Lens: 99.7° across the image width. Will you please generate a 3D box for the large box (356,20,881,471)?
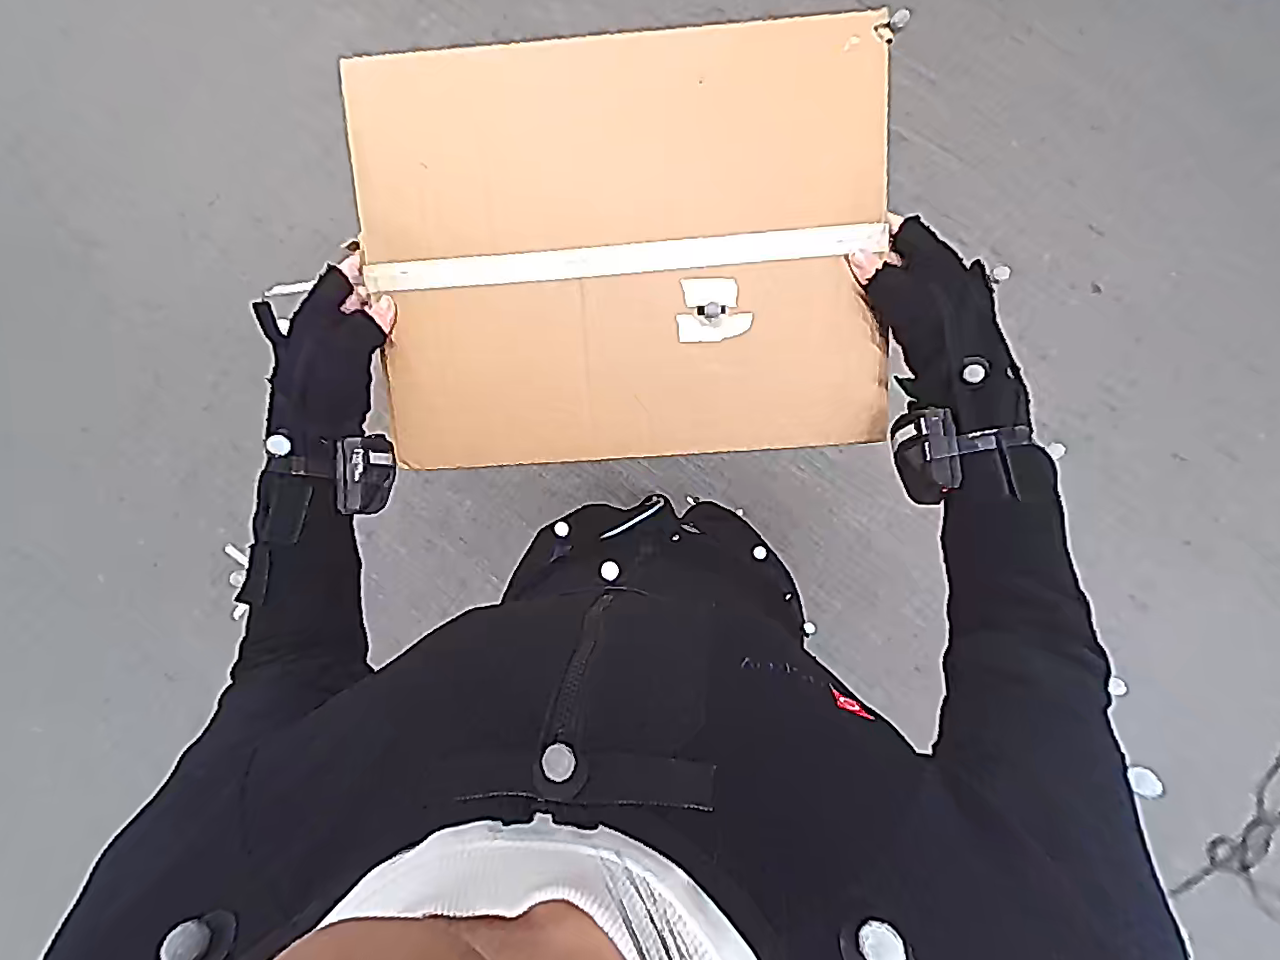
[{"bbox_3d":[-0.010,-0.199,0.582,0.408,0.320,0.320,-5,100,2],"label":"large box"}]
